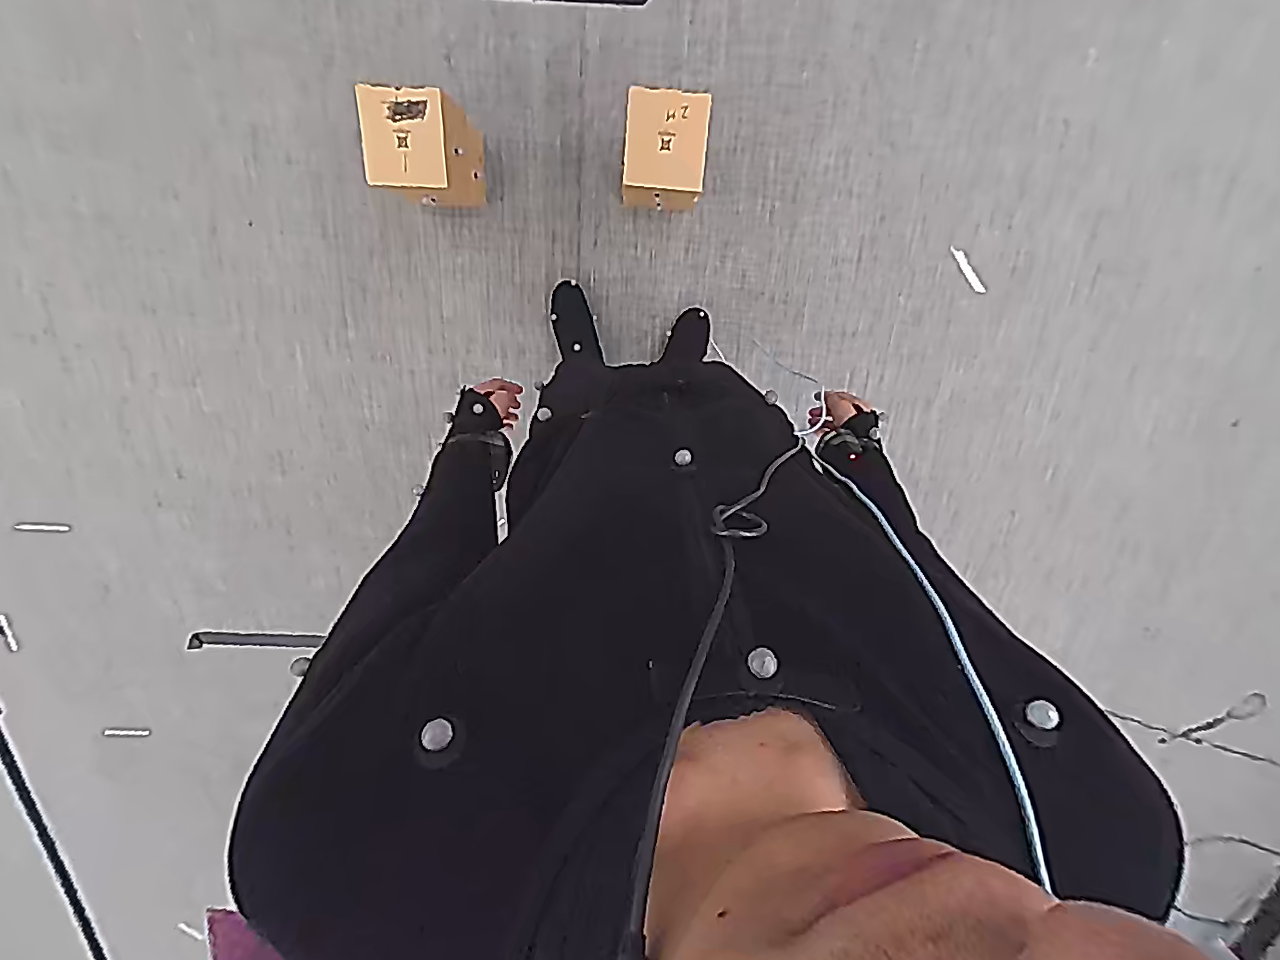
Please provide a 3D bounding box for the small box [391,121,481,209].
[{"bbox_3d":[-0.488,-0.755,1.299,0.179,0.176,0.168,1,110,-2],"label":"small box"}]

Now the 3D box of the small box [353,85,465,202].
[{"bbox_3d":[-0.477,-0.702,1.144,0.168,0.176,0.179,2,111,-2],"label":"small box"}]

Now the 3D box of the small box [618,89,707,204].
[{"bbox_3d":[0.041,-0.705,1.163,0.168,0.176,0.179,4,110,-4],"label":"small box"}]
